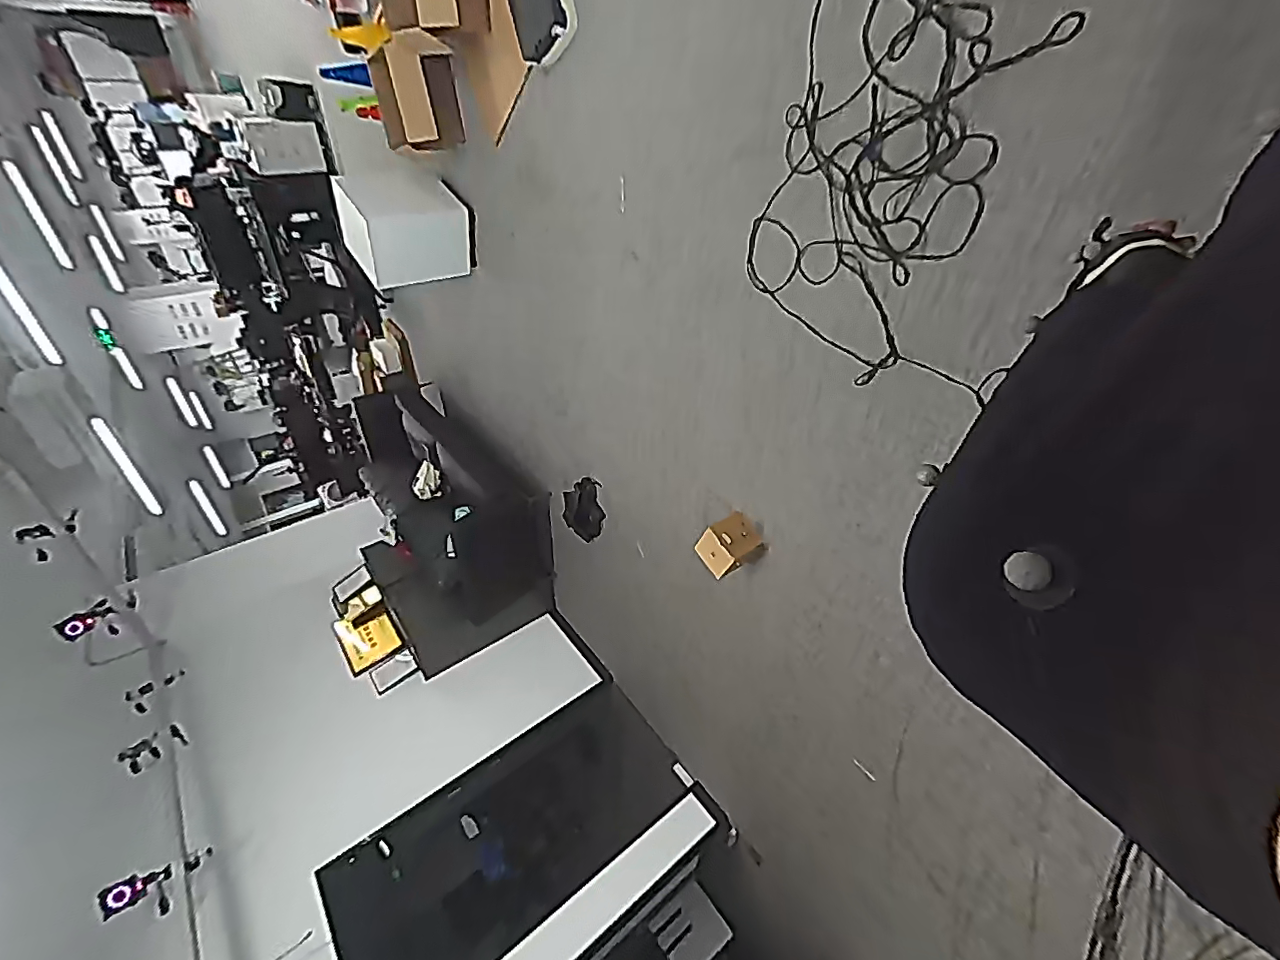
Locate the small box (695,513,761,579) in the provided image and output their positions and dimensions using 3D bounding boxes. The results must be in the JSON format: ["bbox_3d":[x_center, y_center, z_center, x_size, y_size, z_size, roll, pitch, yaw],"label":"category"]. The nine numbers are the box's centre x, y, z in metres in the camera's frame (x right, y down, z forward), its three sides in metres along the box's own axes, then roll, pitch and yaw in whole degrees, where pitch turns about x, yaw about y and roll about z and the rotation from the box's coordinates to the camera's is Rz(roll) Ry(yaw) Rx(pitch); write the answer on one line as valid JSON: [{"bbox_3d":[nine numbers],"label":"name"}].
[{"bbox_3d":[0.355,0.263,2.171,0.168,0.176,0.179,53,147,22],"label":"small box"}]
